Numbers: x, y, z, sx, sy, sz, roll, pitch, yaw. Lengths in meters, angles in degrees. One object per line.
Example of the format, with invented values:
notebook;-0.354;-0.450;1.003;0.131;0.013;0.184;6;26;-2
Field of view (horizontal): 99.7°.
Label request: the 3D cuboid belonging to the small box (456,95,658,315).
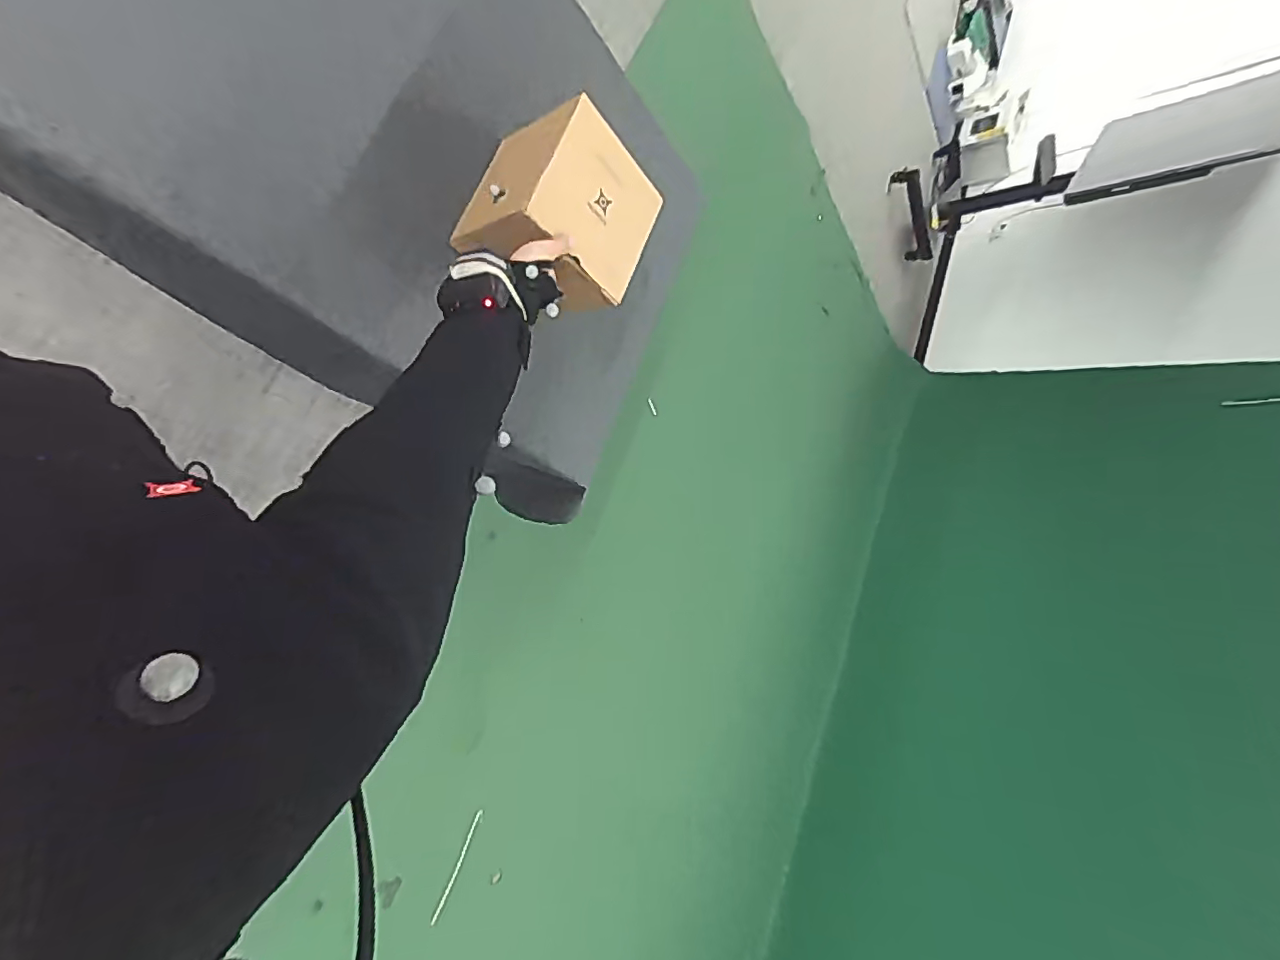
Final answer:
small box;-0.110;-0.336;0.702;0.168;0.176;0.179;35;69;-45
